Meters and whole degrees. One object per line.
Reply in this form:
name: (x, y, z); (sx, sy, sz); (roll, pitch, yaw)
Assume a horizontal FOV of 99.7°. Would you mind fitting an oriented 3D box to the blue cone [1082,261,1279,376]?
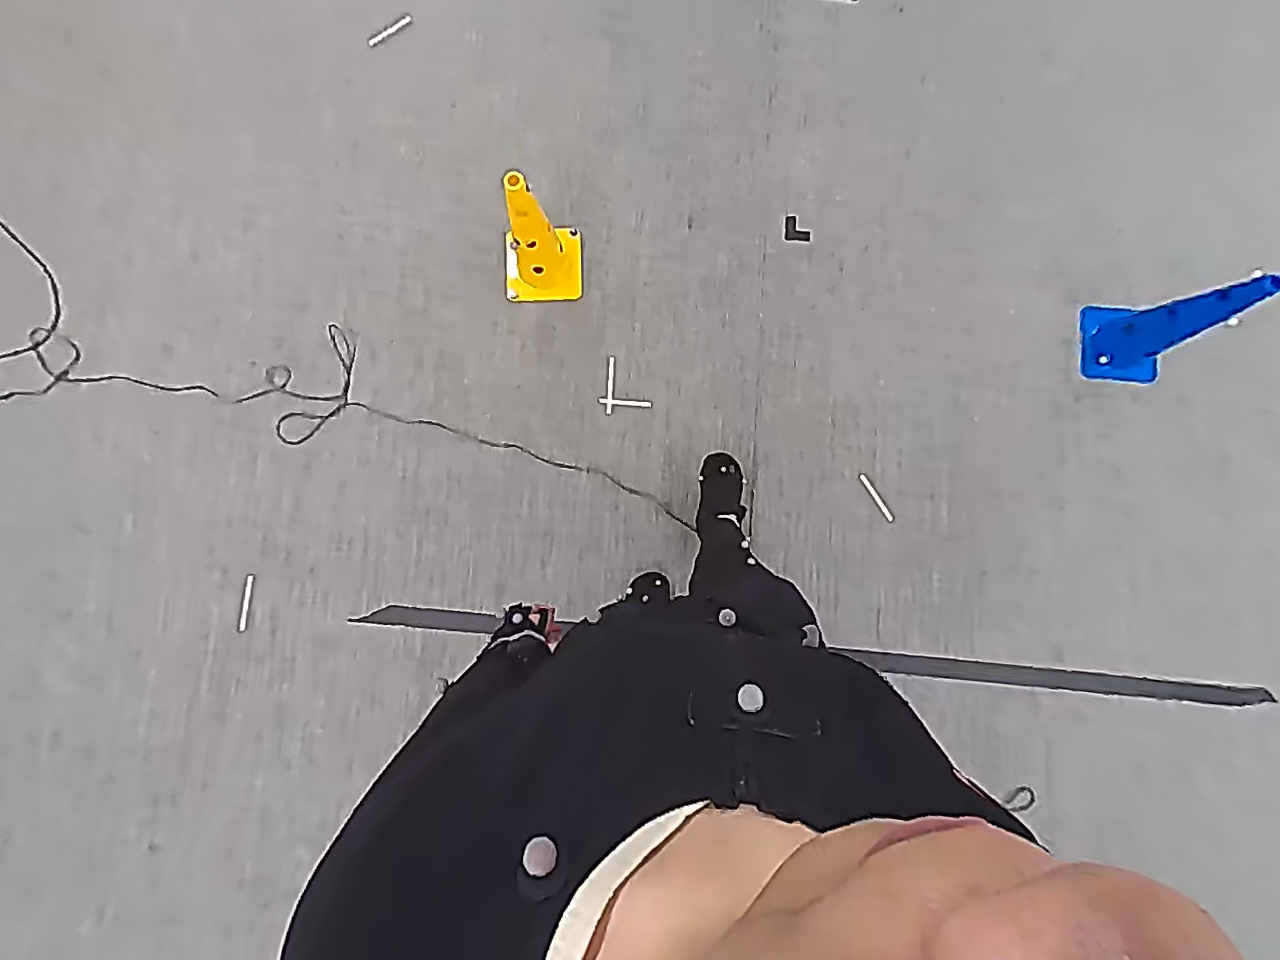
blue cone: (1.268, -0.390, 1.266); (0.193, 0.380, 0.192); (5, 83, 0)
